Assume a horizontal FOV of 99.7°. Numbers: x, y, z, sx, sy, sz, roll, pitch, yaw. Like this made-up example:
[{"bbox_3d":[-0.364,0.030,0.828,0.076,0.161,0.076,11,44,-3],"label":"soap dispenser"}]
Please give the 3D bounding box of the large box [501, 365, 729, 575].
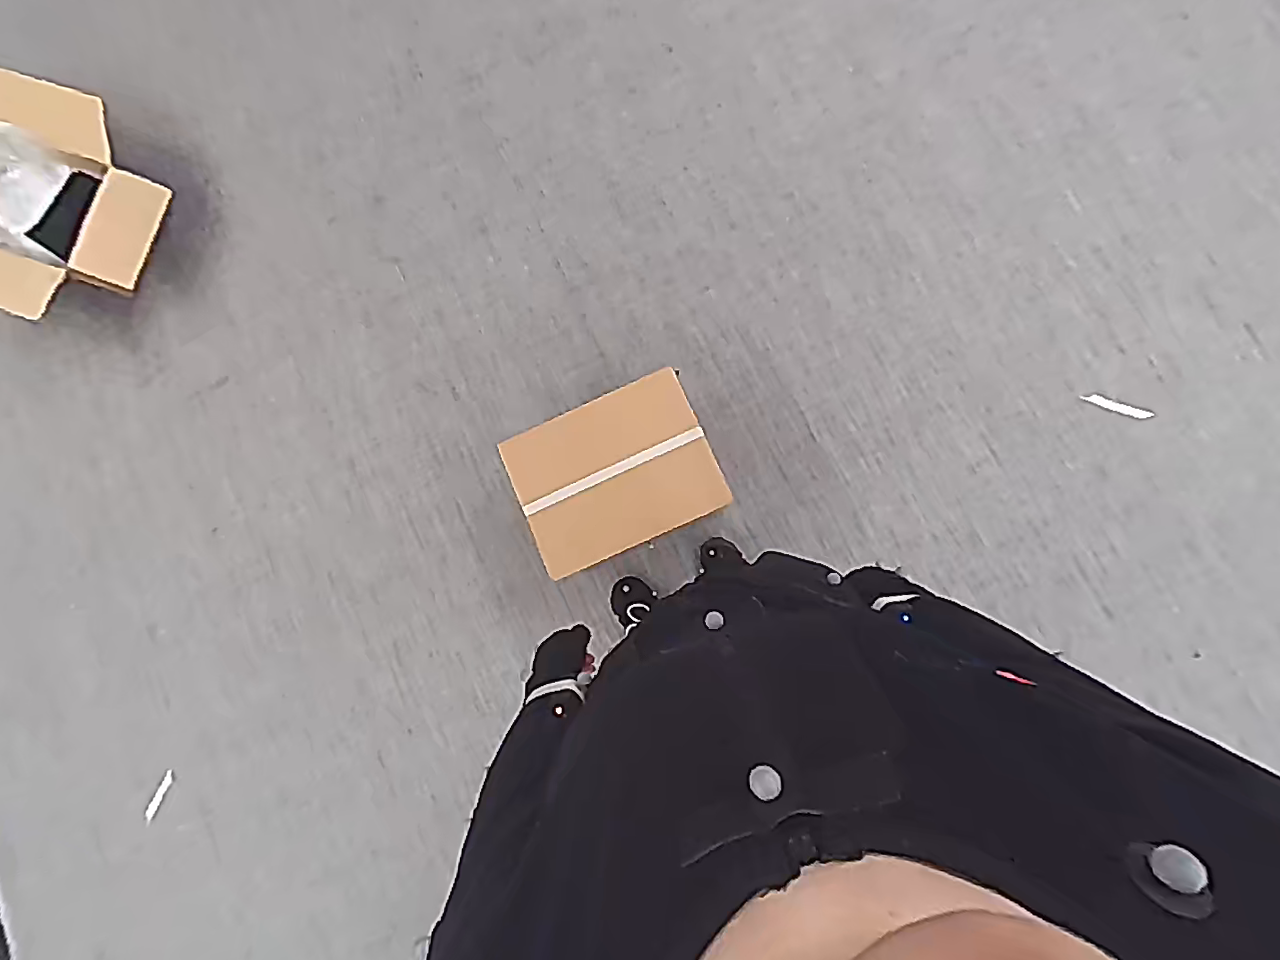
[{"bbox_3d":[-0.047,-0.006,1.266,0.408,0.320,0.320,-24,84,2],"label":"large box"}]
